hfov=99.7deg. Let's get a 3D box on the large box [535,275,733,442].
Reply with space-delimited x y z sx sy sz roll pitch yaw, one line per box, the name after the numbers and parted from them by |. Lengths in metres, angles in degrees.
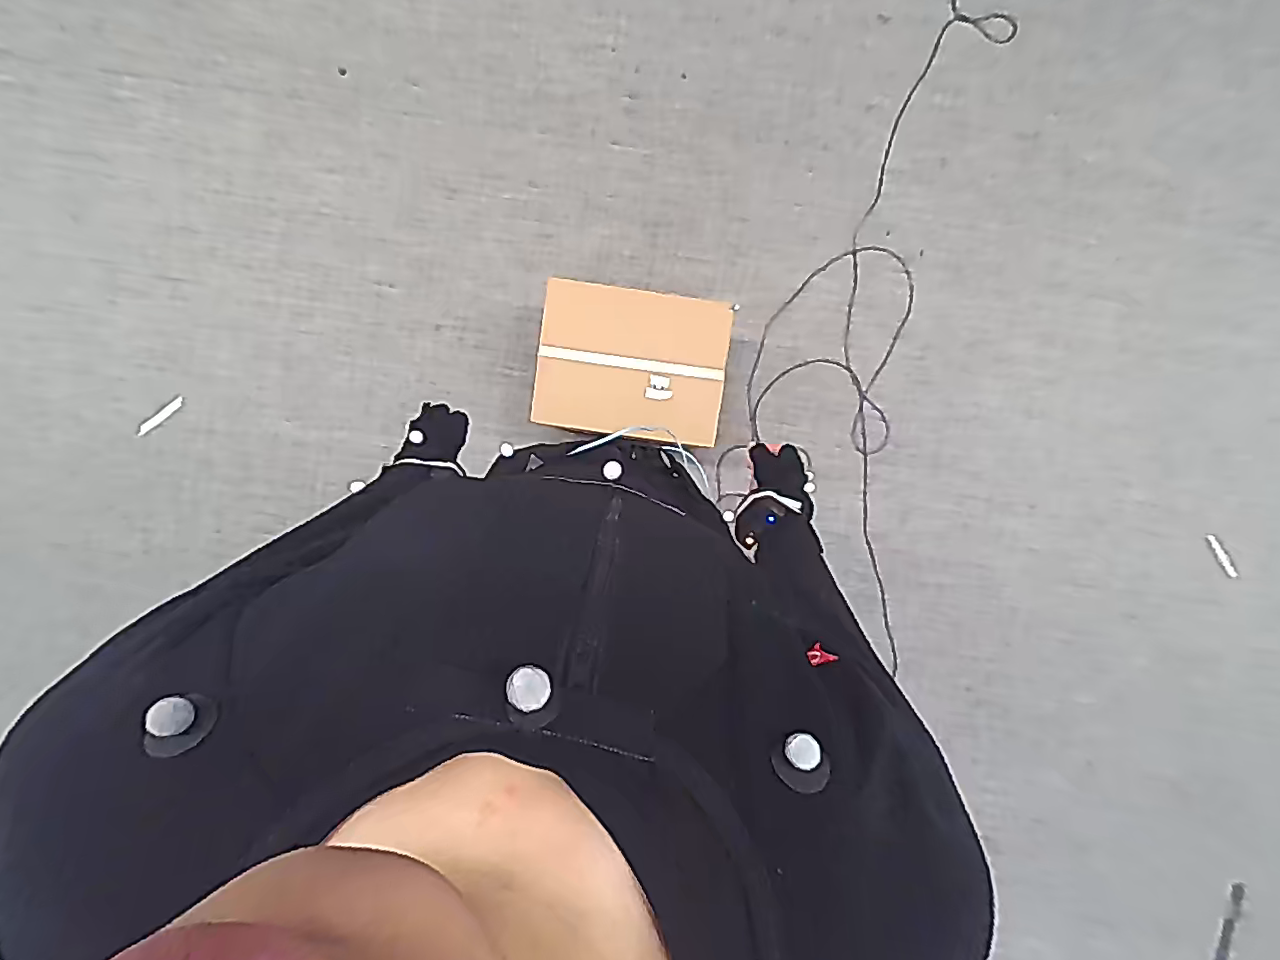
-0.017 -0.272 1.317 0.408 0.320 0.320 8 94 -1 | large box
